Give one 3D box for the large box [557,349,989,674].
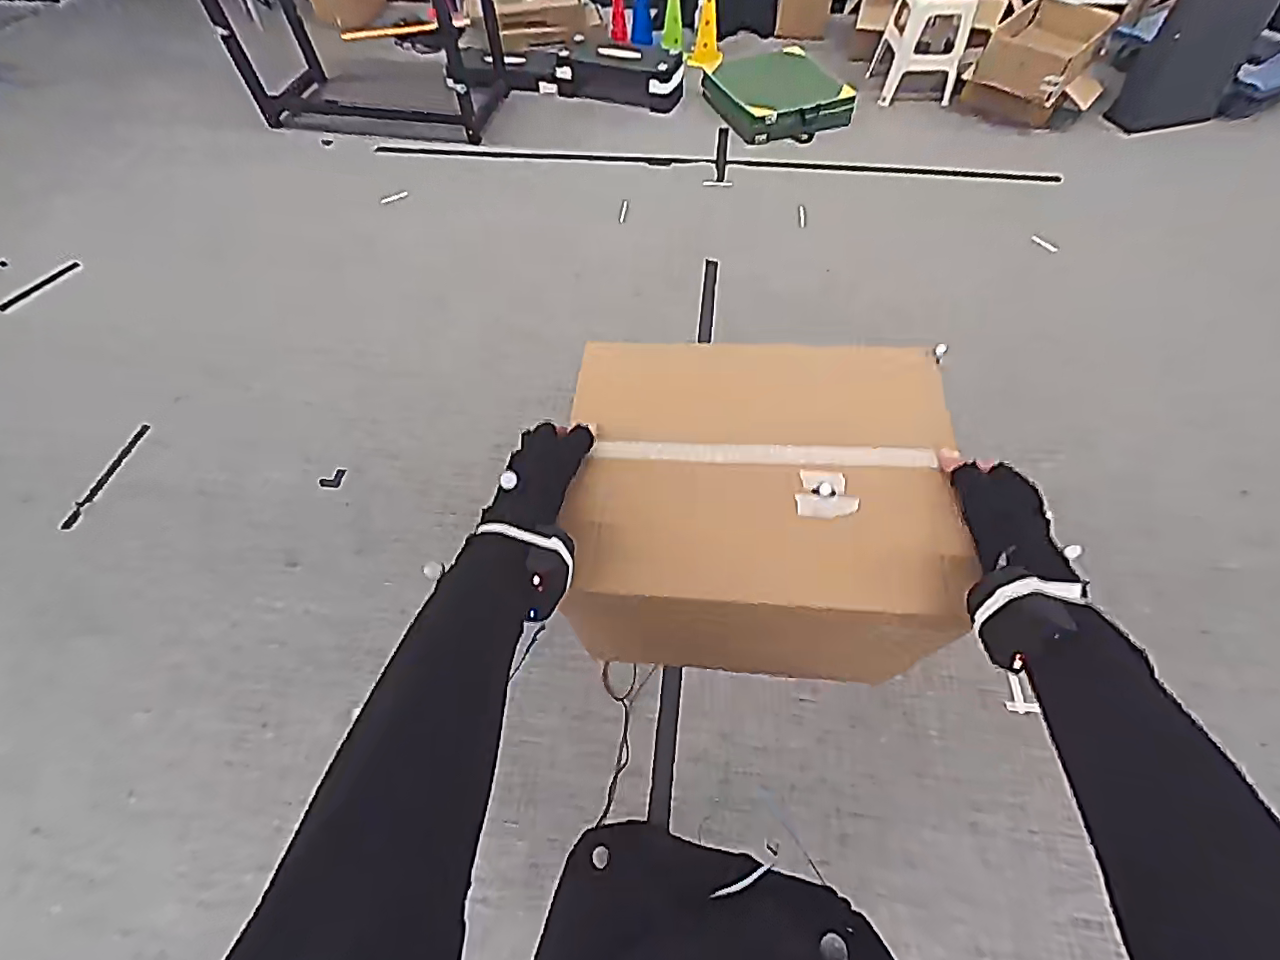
[{"bbox_3d":[0.138,0.051,0.701,0.408,0.320,0.320,3,61,7],"label":"large box"}]
